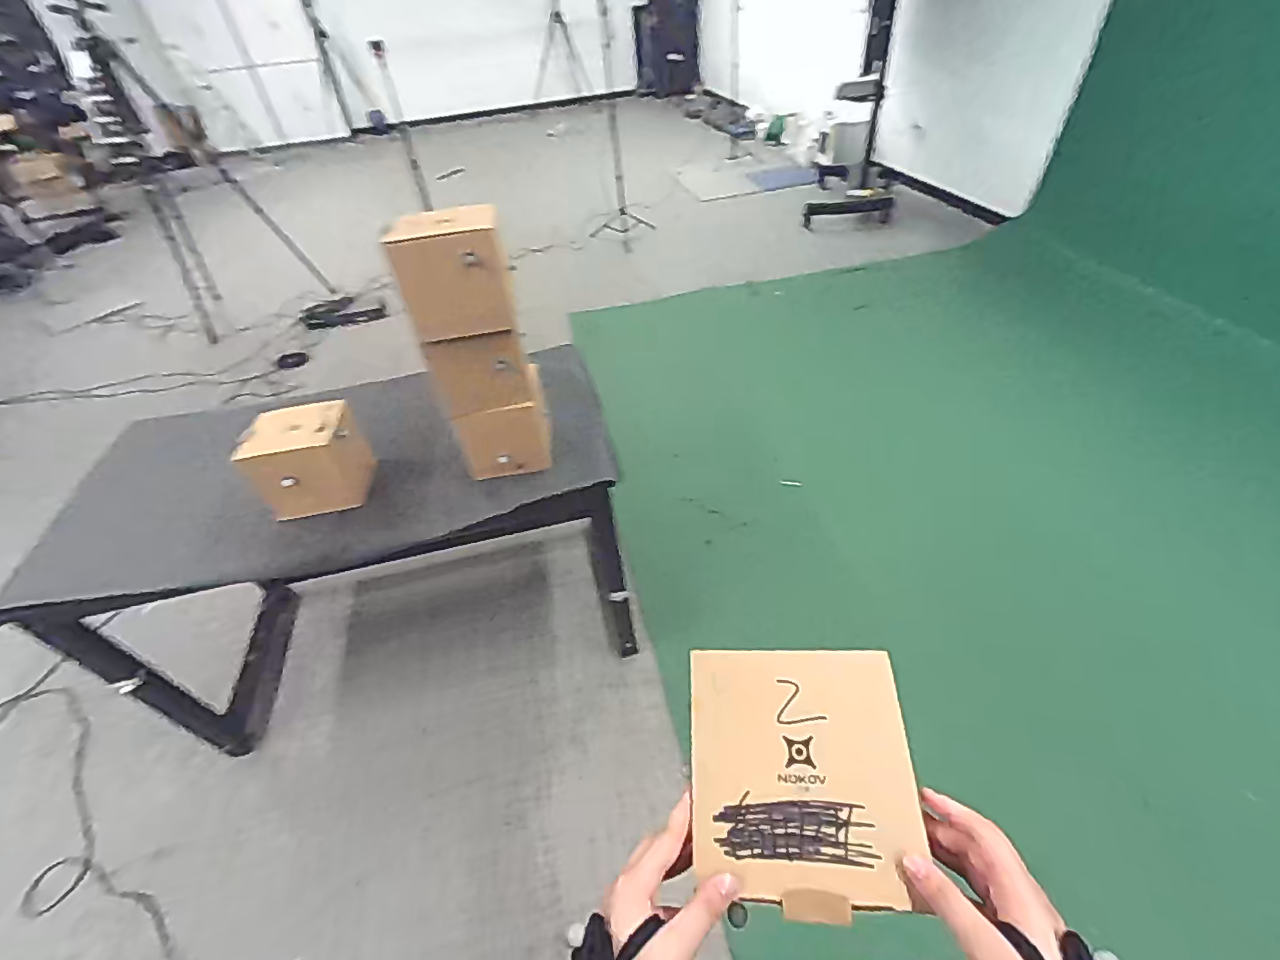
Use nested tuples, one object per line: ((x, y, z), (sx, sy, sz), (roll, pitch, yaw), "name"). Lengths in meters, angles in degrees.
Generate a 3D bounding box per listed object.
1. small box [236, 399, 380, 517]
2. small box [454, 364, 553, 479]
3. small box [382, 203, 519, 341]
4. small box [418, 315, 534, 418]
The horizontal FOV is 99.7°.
((-0.680, -0.042, 1.131), (0.179, 0.176, 0.168), (-11, 42, -4), "small box")
((-0.286, -0.127, 1.166), (0.168, 0.176, 0.179), (-9, 41, -1), "small box")
((-0.312, -0.360, 0.937), (0.179, 0.176, 0.168), (-11, 39, -3), "small box")
((-0.313, -0.246, 1.060), (0.179, 0.176, 0.168), (-15, 40, -6), "small box")
